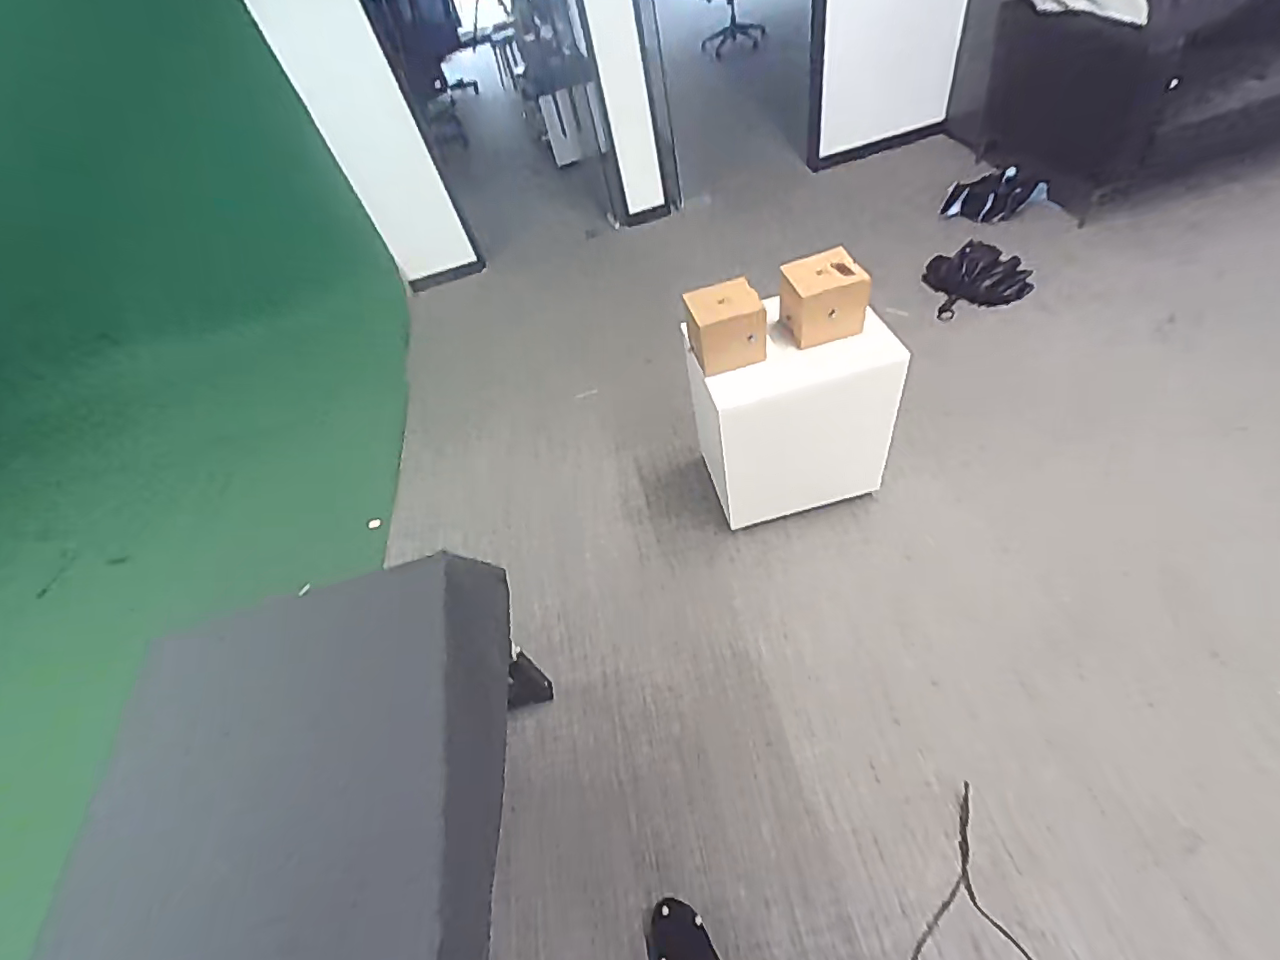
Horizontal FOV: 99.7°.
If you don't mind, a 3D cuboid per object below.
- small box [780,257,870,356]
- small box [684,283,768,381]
[{"bbox_3d":[0.484,-0.460,1.442,0.179,0.176,0.168,-15,49,1],"label":"small box"},{"bbox_3d":[0.228,-0.391,1.441,0.179,0.176,0.168,-16,47,-2],"label":"small box"}]
